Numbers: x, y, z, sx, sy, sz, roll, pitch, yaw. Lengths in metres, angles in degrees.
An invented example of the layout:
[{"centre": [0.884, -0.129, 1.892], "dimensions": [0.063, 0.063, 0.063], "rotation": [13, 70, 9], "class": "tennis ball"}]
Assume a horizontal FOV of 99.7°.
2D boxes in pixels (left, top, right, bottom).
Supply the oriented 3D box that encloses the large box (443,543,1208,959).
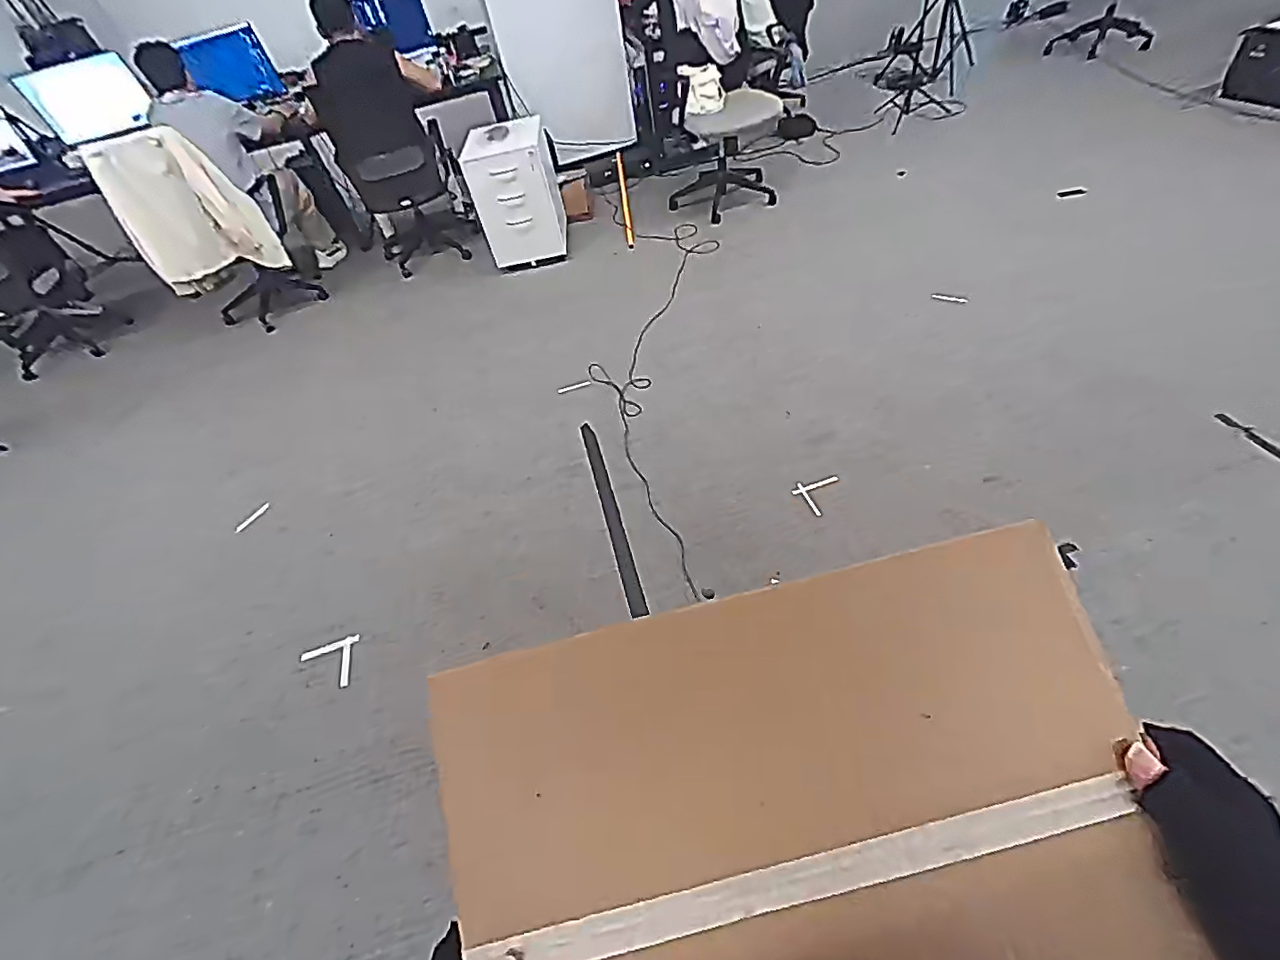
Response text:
[{"centre": [0.109, 0.268, 0.460], "dimensions": [0.408, 0.320, 0.320], "rotation": [-15, 75, -1], "class": "large box"}]
